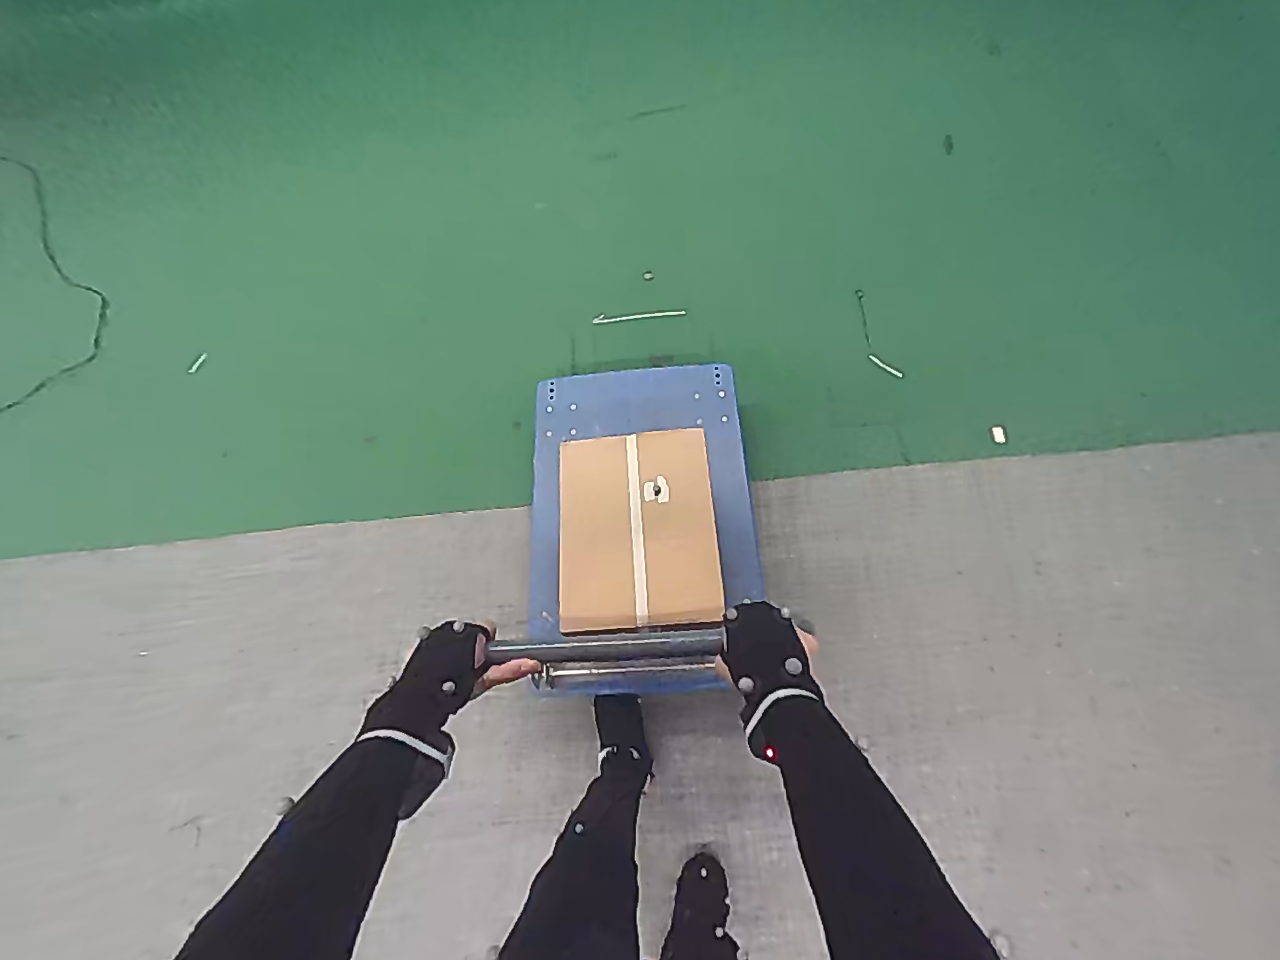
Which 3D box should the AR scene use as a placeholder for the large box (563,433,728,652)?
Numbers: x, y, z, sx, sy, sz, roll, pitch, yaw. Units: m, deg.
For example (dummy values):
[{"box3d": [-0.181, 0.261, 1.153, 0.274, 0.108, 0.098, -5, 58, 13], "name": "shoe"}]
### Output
[{"box3d": [0.013, 0.153, 1.218, 0.320, 0.320, 0.408, -5, 66, 4], "name": "large box"}]
